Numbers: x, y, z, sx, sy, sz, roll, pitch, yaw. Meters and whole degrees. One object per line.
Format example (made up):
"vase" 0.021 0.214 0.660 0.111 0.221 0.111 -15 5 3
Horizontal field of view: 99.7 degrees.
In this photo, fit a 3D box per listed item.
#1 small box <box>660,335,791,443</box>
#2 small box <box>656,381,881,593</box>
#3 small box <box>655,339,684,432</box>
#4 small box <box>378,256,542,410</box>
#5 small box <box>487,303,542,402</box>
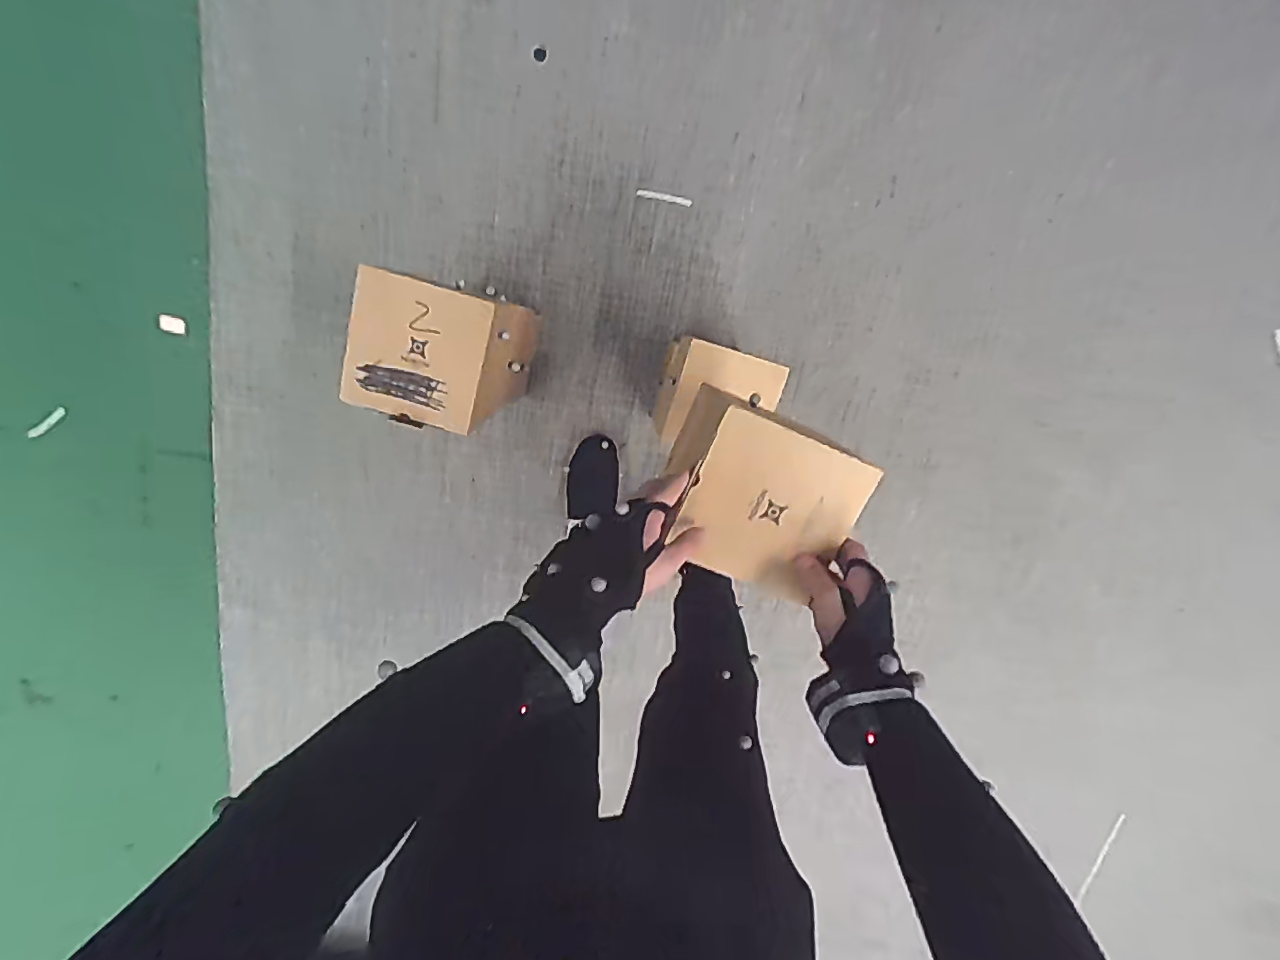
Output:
"small box" 0.136 -0.145 0.946 0.168 0.176 0.179 17 105 -6
"small box" 0.129 -0.004 0.624 0.179 0.176 0.168 23 106 -9
"small box" 0.129 -0.182 1.107 0.168 0.176 0.179 12 106 -5
"small box" -0.291 -0.245 0.916 0.168 0.176 0.179 -41 103 12
"small box" -0.298 -0.270 1.069 0.168 0.176 0.179 15 104 -6
